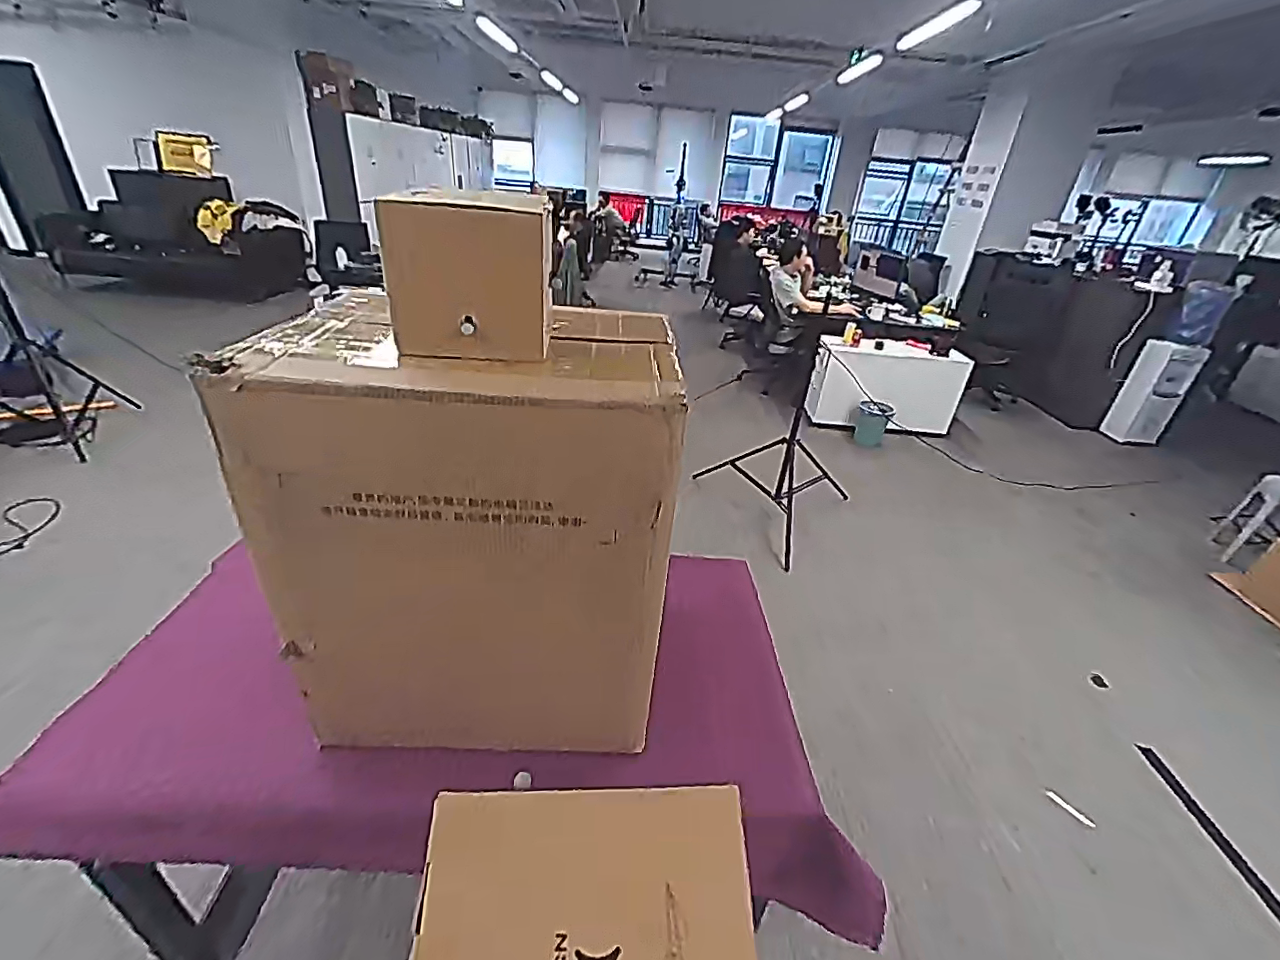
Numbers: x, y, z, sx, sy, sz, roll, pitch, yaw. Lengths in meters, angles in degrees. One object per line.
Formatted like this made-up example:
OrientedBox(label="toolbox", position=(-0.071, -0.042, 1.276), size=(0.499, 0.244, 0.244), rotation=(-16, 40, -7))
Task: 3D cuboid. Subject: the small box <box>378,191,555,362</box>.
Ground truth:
OrientedBox(label="small box", position=(-0.200, -0.254, 0.678), size=(0.179, 0.176, 0.168), rotation=(2, 30, -7))
